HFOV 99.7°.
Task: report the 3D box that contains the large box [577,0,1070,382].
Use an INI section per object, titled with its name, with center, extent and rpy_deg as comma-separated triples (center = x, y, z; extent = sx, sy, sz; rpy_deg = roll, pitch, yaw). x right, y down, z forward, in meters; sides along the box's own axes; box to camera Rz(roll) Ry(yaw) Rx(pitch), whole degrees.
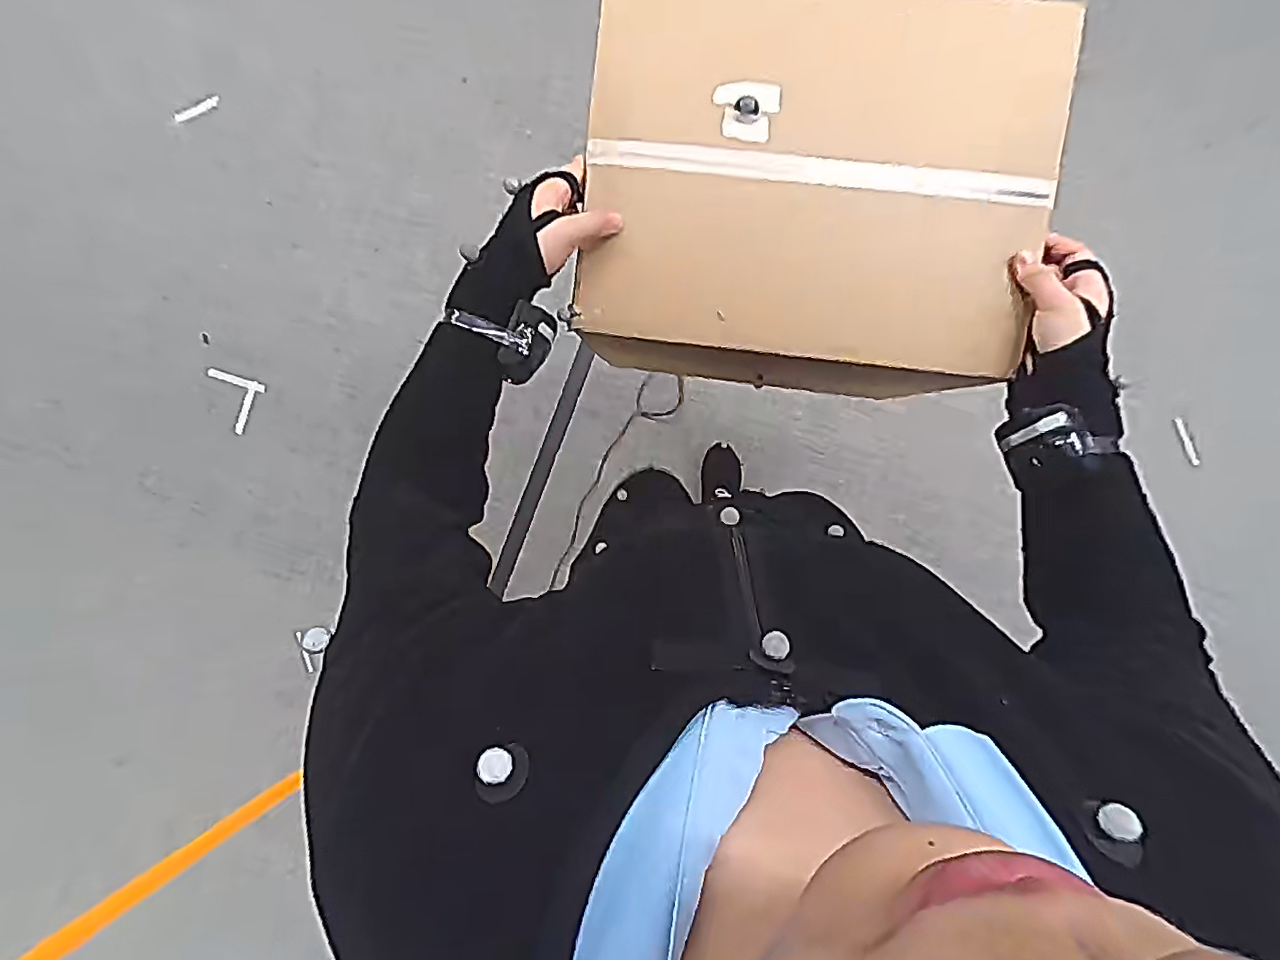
[large box]
center = 0.164, -0.293, 0.629
extent = 0.408, 0.320, 0.320
rpy_deg = 7, 95, 4
